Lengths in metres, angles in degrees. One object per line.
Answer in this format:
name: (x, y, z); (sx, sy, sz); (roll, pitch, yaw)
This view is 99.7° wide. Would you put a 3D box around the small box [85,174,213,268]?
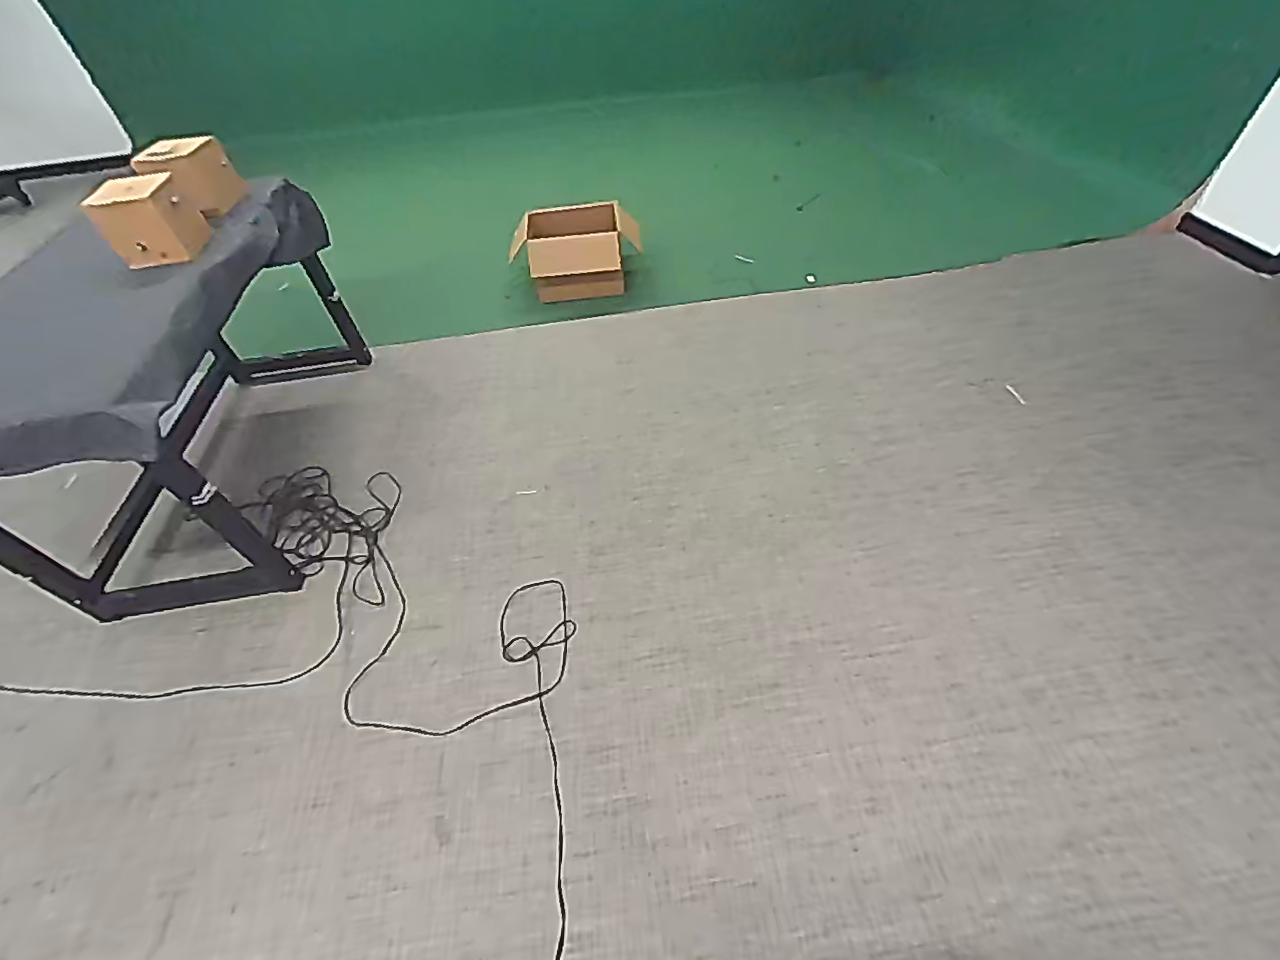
small box: (-1.299, -0.695, 1.452); (0.168, 0.176, 0.179); (-11, 50, -4)
